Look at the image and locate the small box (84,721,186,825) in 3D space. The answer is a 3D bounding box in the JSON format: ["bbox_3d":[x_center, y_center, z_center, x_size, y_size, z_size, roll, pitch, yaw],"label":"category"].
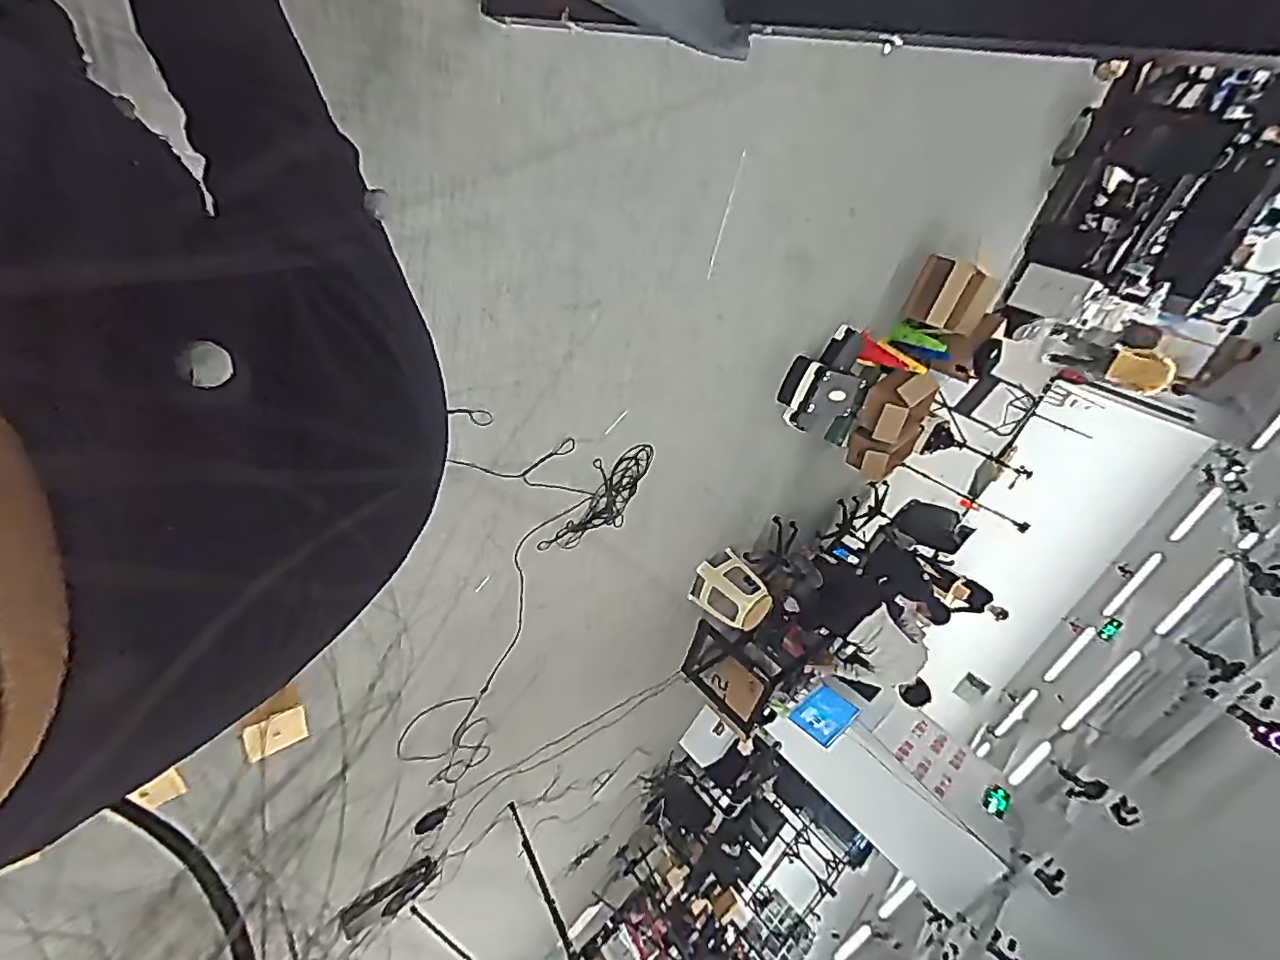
[{"bbox_3d":[-1.438,0.823,1.540,0.168,0.176,0.179,-21,136,-38],"label":"small box"}]

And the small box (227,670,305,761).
[{"bbox_3d":[-1.211,0.757,1.753,0.168,0.176,0.179,-18,132,-41],"label":"small box"}]
